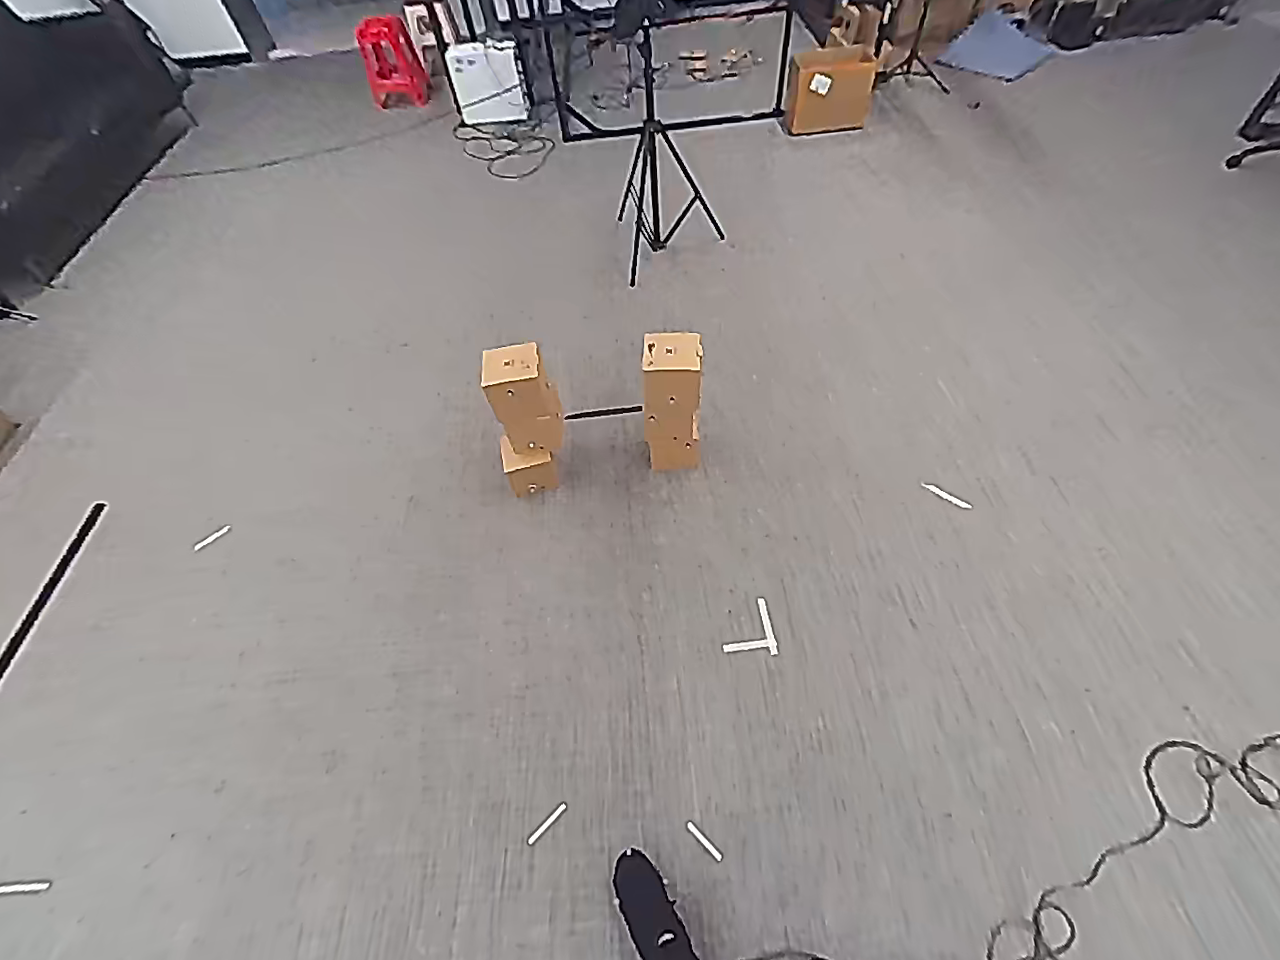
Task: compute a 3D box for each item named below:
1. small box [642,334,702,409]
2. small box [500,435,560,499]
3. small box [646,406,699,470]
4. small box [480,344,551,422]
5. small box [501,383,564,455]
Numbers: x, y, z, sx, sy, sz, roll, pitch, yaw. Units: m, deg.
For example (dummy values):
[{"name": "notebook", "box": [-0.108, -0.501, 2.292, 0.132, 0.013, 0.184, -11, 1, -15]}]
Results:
[{"name": "small box", "box": [0.101, -0.336, 1.689, 0.179, 0.176, 0.168, 1, 54, 4]}, {"name": "small box", "box": [-0.395, -0.060, 1.946, 0.168, 0.176, 0.179, -15, 55, -4]}, {"name": "small box", "box": [0.118, -0.149, 1.959, 0.179, 0.176, 0.168, -5, 54, 1]}, {"name": "small box", "box": [-0.390, -0.302, 1.715, 0.179, 0.176, 0.168, -9, 54, 0]}, {"name": "small box", "box": [-0.360, -0.207, 1.847, 0.168, 0.176, 0.179, -4, 54, 5]}]
